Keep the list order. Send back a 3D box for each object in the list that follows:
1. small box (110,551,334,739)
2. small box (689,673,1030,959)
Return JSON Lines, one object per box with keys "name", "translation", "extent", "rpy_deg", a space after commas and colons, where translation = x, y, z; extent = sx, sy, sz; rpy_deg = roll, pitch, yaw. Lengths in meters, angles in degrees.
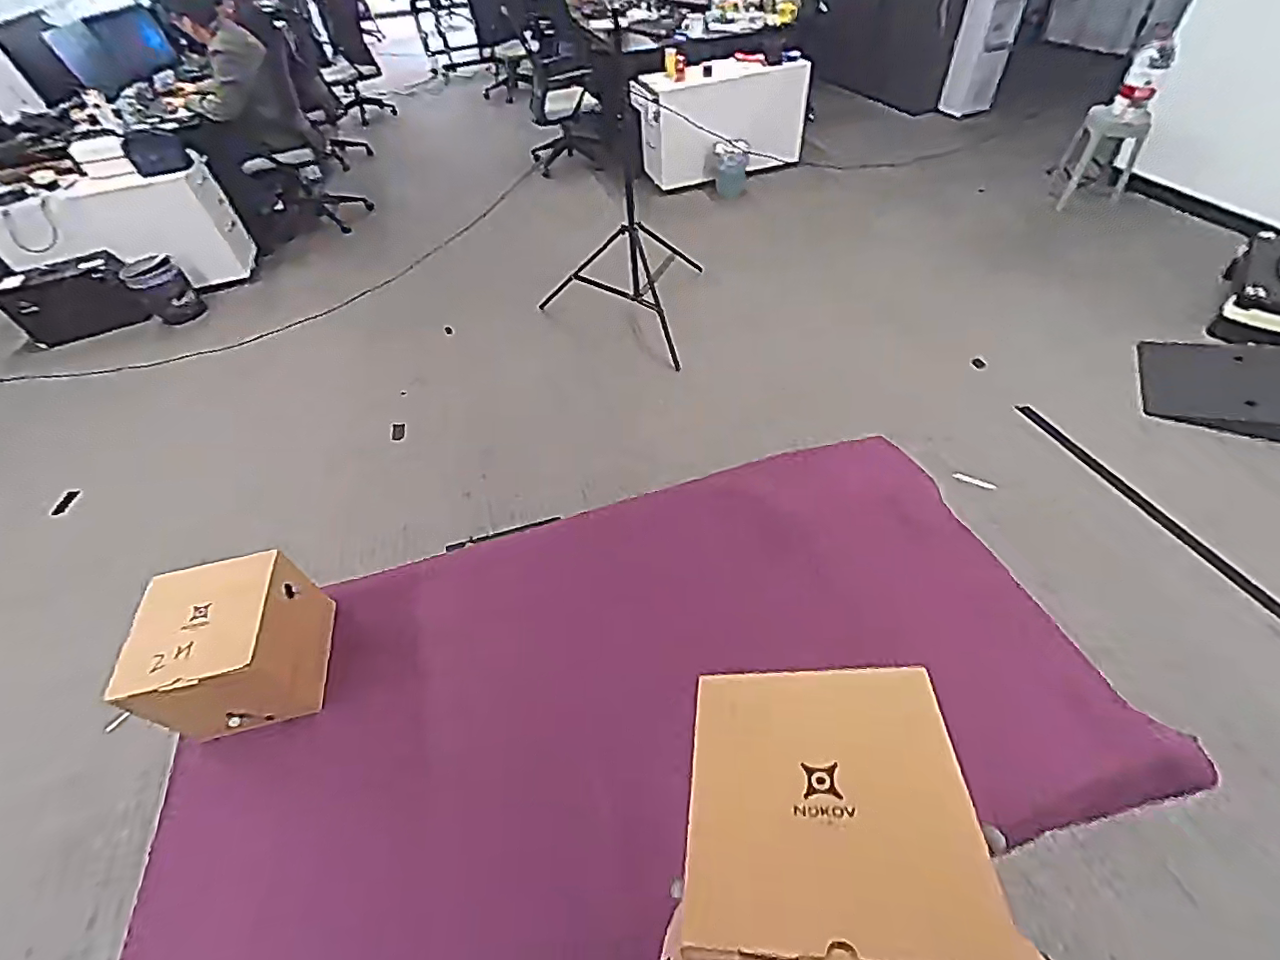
{"name": "small box", "translation": [-0.551, 0.230, 0.749], "extent": [0.168, 0.176, 0.179], "rpy_deg": [-13, 51, -6]}
{"name": "small box", "translation": [0.134, 0.260, 0.376], "extent": [0.168, 0.176, 0.179], "rpy_deg": [-7, 32, 14]}
